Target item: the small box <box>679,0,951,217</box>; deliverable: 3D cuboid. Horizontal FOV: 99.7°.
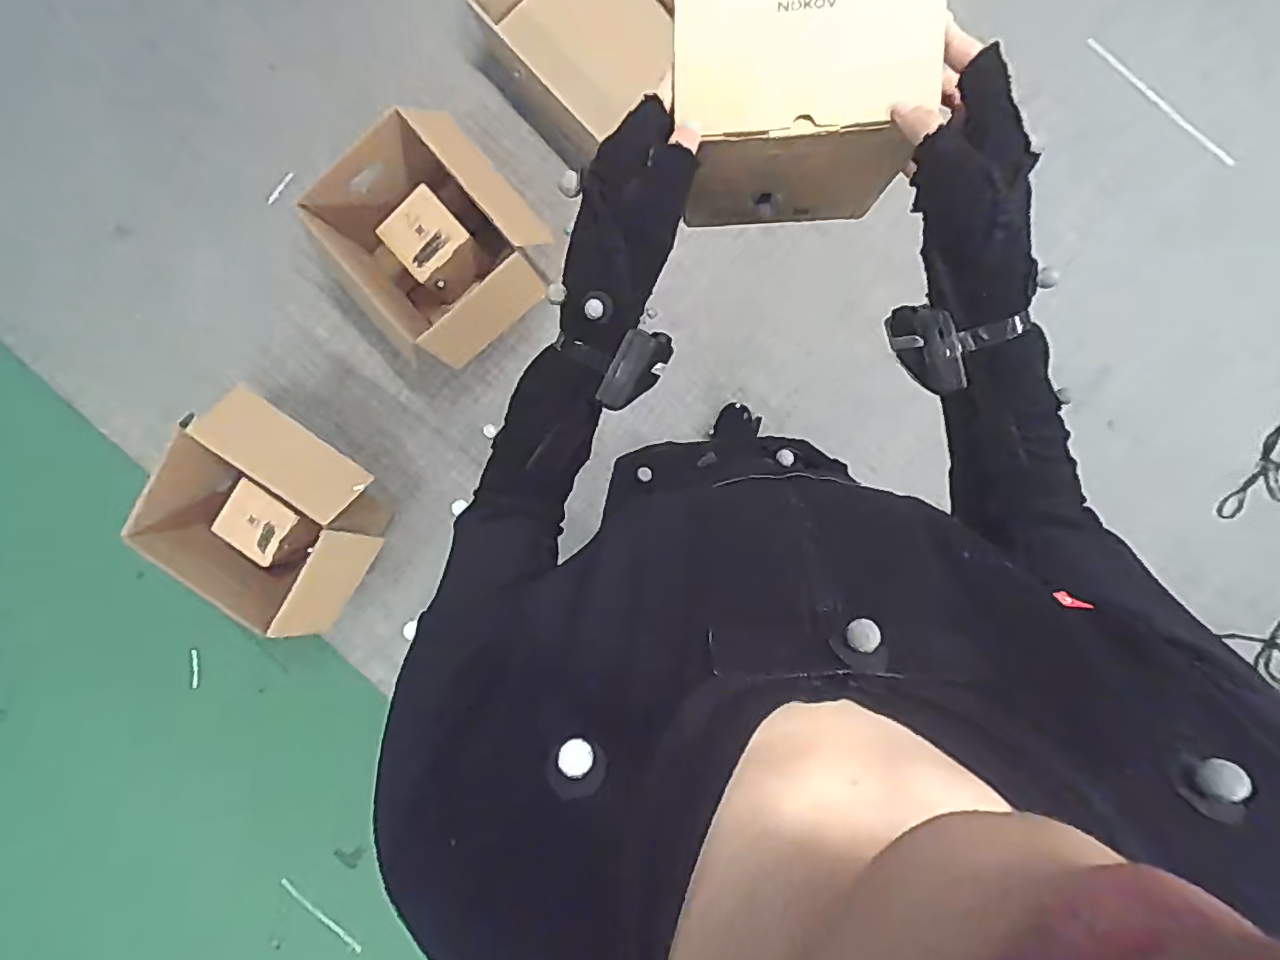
[{"bbox_3d":[0.116,-0.323,0.410,0.168,0.176,0.179,0,98,8],"label":"small box"}]
